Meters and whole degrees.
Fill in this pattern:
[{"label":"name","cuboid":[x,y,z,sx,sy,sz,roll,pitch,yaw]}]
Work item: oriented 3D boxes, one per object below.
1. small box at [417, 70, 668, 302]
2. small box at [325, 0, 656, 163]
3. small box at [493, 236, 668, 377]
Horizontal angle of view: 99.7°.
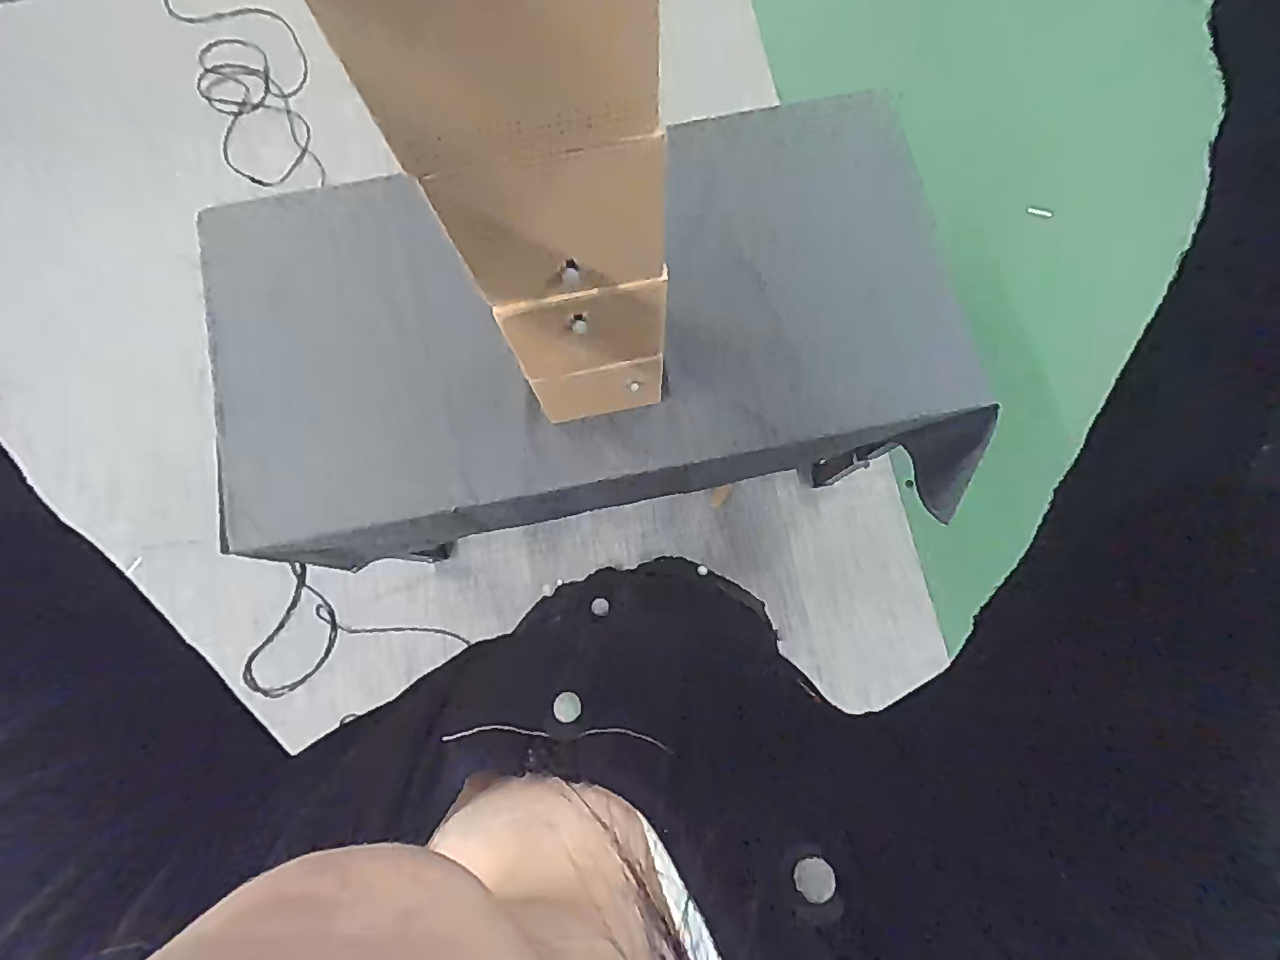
[{"label":"small box","cuboid":[-0.079,-0.278,0.466,0.179,0.176,0.168,-10,77,-1]},{"label":"small box","cuboid":[-0.090,-0.316,0.306,0.179,0.176,0.168,-12,78,-1]},{"label":"small box","cuboid":[-0.072,-0.238,0.624,0.179,0.176,0.168,-12,78,-1]}]
